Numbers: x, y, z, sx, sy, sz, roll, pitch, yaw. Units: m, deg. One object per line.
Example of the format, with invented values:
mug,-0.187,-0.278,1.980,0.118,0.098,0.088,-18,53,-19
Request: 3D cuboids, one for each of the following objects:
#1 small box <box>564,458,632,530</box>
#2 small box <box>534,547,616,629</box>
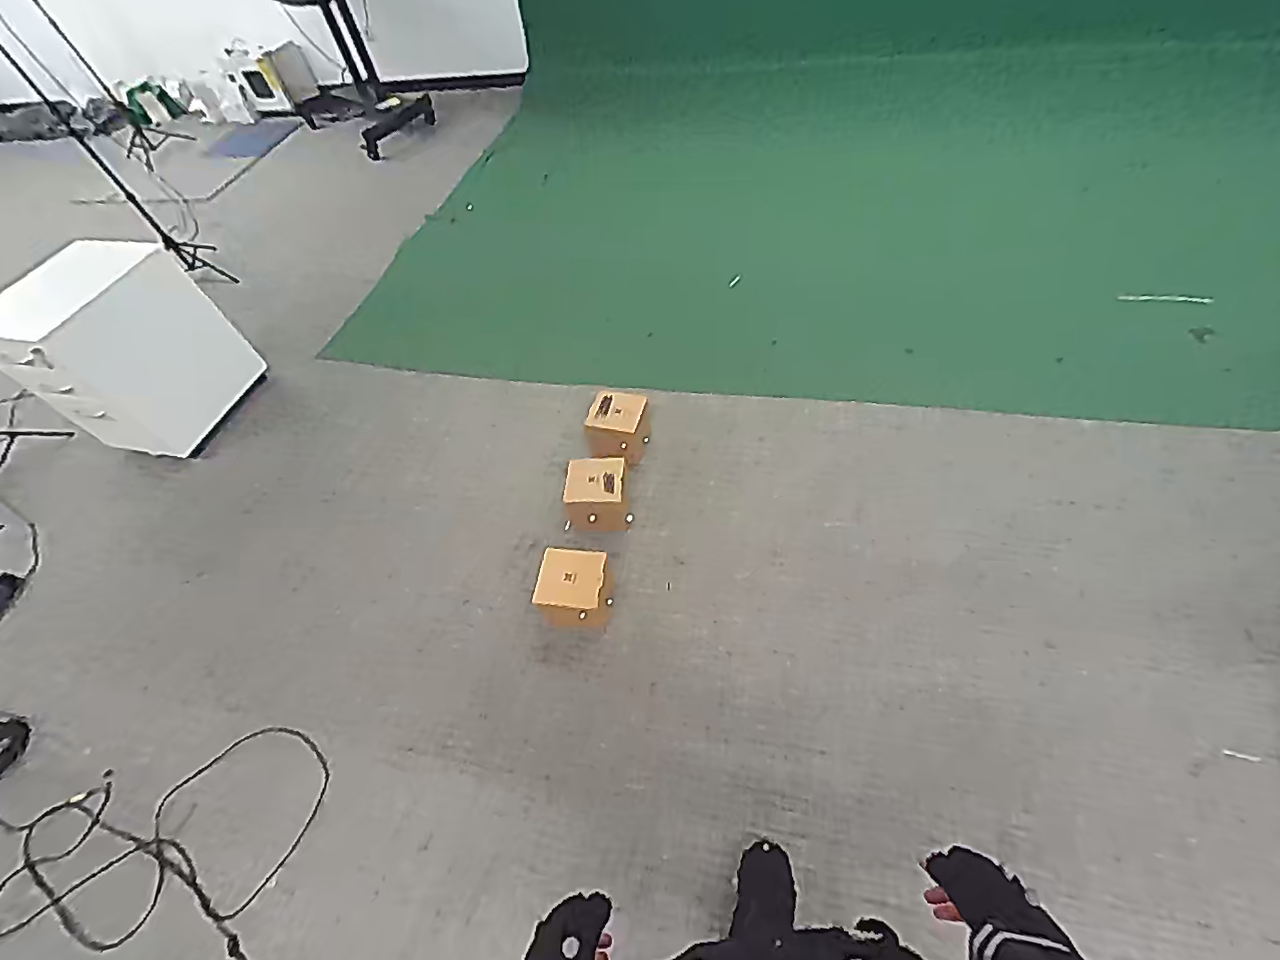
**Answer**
small box,-0.124,0.046,1.686,0.179,0.176,0.168,-1,53,7
small box,-0.172,0.303,1.504,0.179,0.176,0.168,3,55,9
